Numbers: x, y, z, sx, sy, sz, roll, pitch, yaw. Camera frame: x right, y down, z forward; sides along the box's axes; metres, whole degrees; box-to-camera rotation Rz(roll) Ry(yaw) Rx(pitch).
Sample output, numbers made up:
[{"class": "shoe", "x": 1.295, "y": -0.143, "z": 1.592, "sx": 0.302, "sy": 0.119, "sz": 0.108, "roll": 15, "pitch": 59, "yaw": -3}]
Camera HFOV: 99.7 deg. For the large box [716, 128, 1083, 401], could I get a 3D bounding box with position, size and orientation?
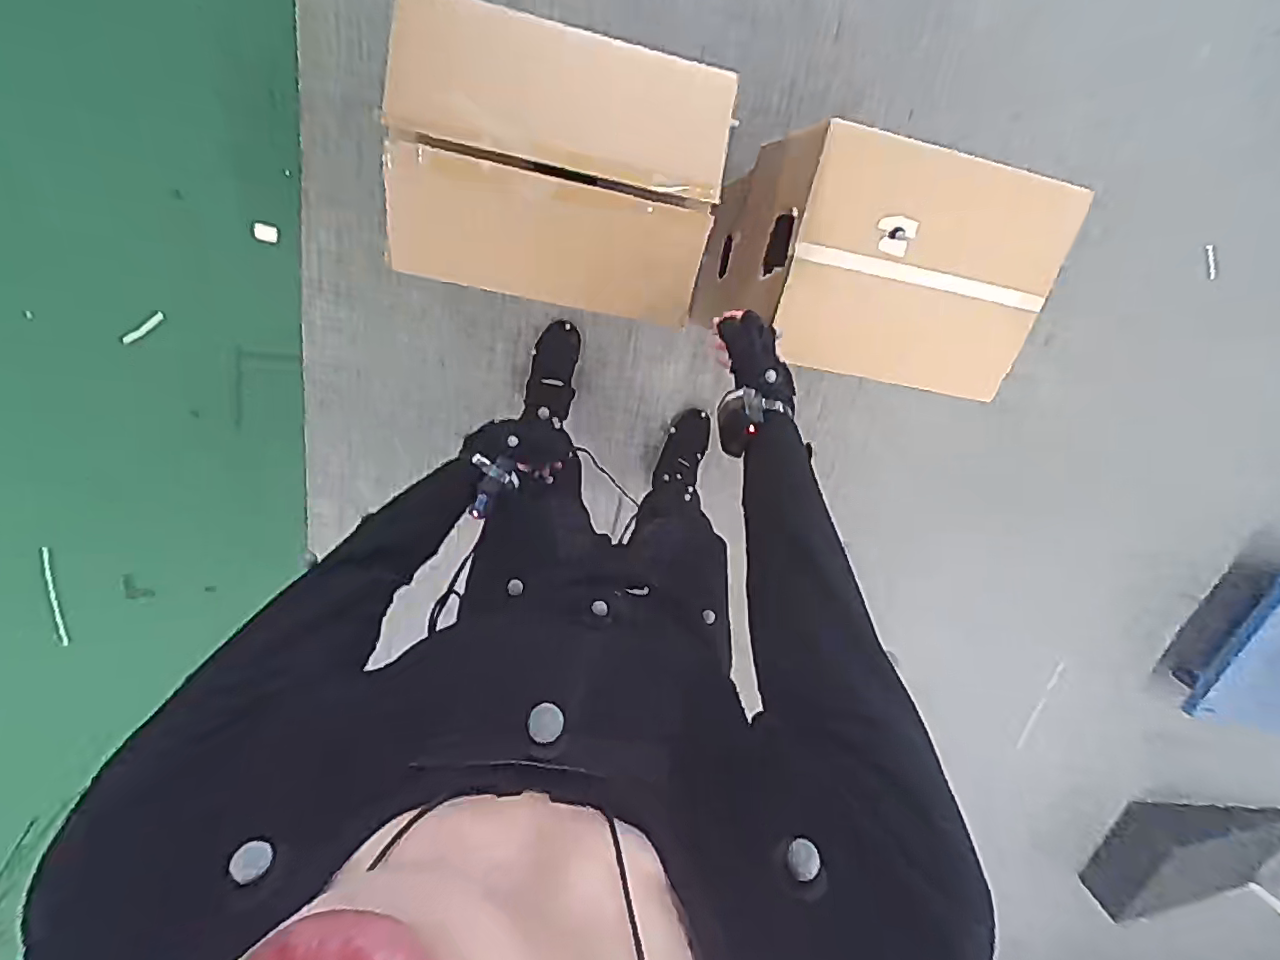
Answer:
[{"class": "large box", "x": 0.383, "y": -0.354, "z": 0.913, "sx": 0.408, "sy": 0.320, "sz": 0.320, "roll": 9, "pitch": 114, "yaw": -9}]
